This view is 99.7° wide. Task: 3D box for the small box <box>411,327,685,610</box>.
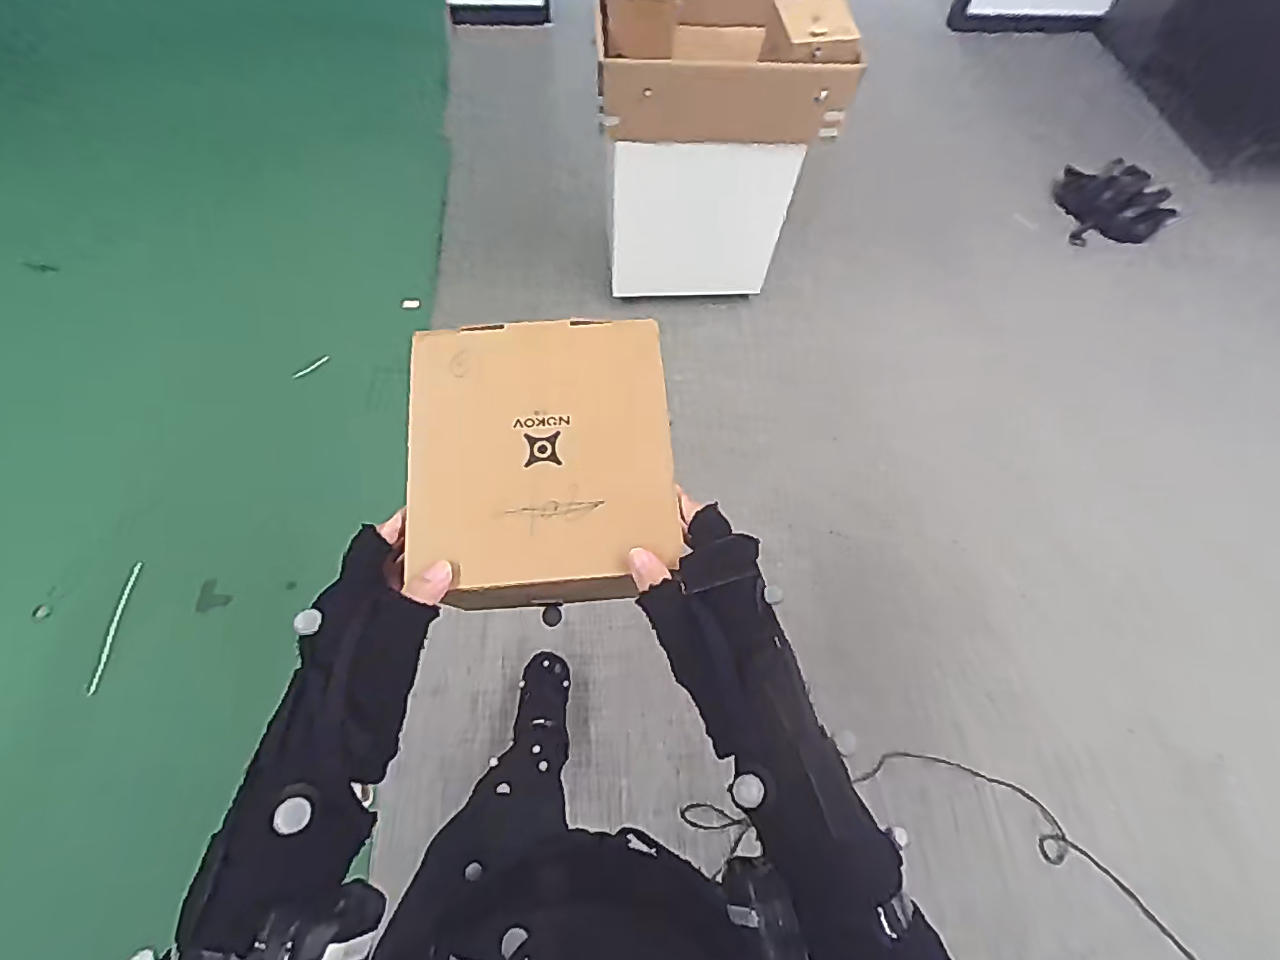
[{"bbox_3d":[-0.063,0.002,0.424,0.168,0.176,0.179,-3,73,-4],"label":"small box"}]
